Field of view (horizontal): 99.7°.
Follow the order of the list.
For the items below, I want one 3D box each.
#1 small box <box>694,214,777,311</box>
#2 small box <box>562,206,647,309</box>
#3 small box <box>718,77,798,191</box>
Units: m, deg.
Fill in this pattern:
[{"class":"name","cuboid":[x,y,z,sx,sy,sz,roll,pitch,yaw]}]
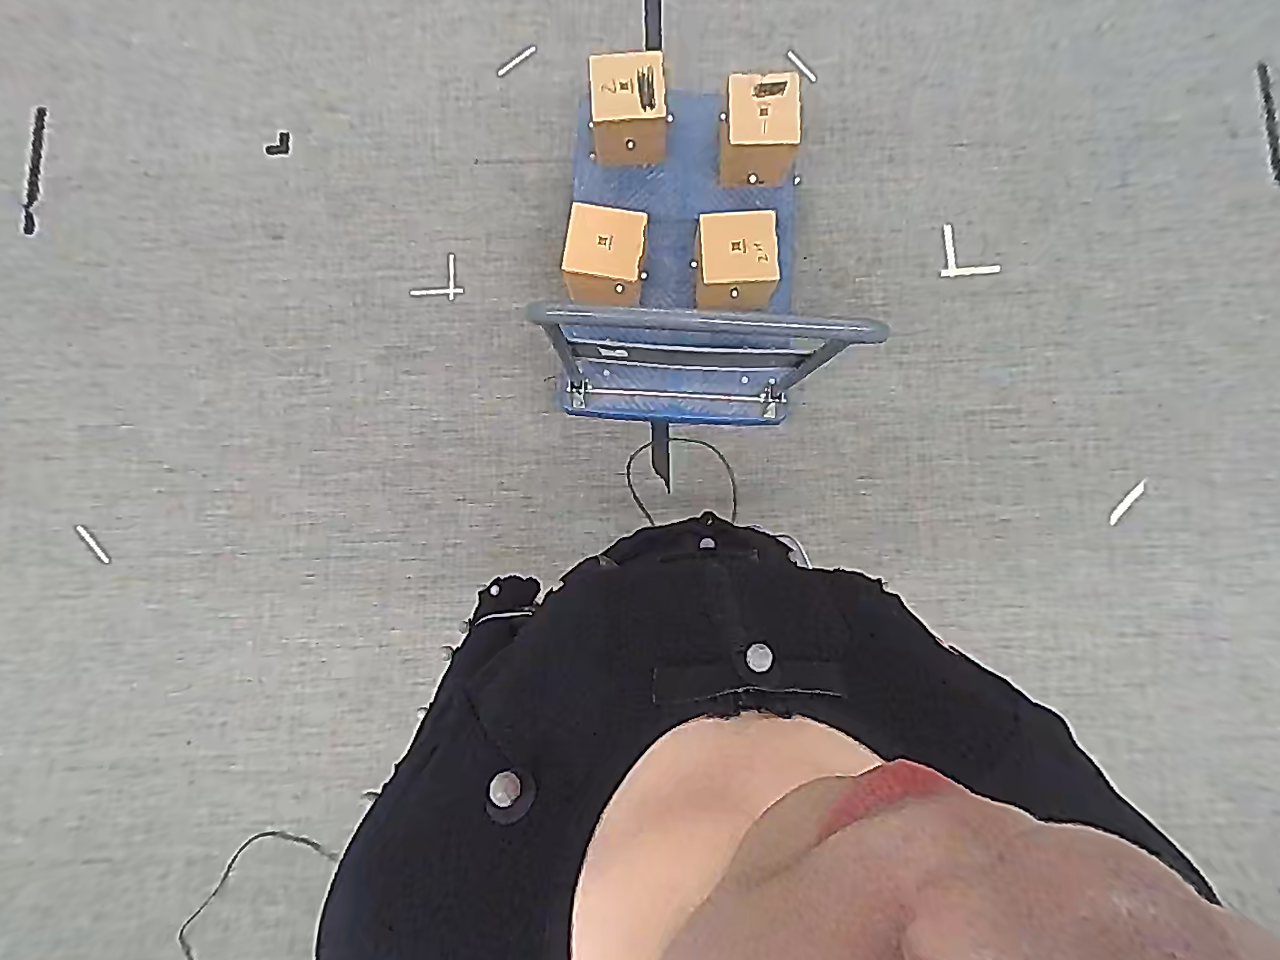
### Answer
[{"class":"small box","cuboid":[0.224,-0.522,1.317,0.179,0.176,0.168,-2,86,0]},{"class":"small box","cuboid":[-0.082,-0.535,1.320,0.179,0.176,0.168,9,85,-1]},{"class":"small box","cuboid":[0.286,-0.853,1.343,0.168,0.176,0.179,0,86,1]}]
